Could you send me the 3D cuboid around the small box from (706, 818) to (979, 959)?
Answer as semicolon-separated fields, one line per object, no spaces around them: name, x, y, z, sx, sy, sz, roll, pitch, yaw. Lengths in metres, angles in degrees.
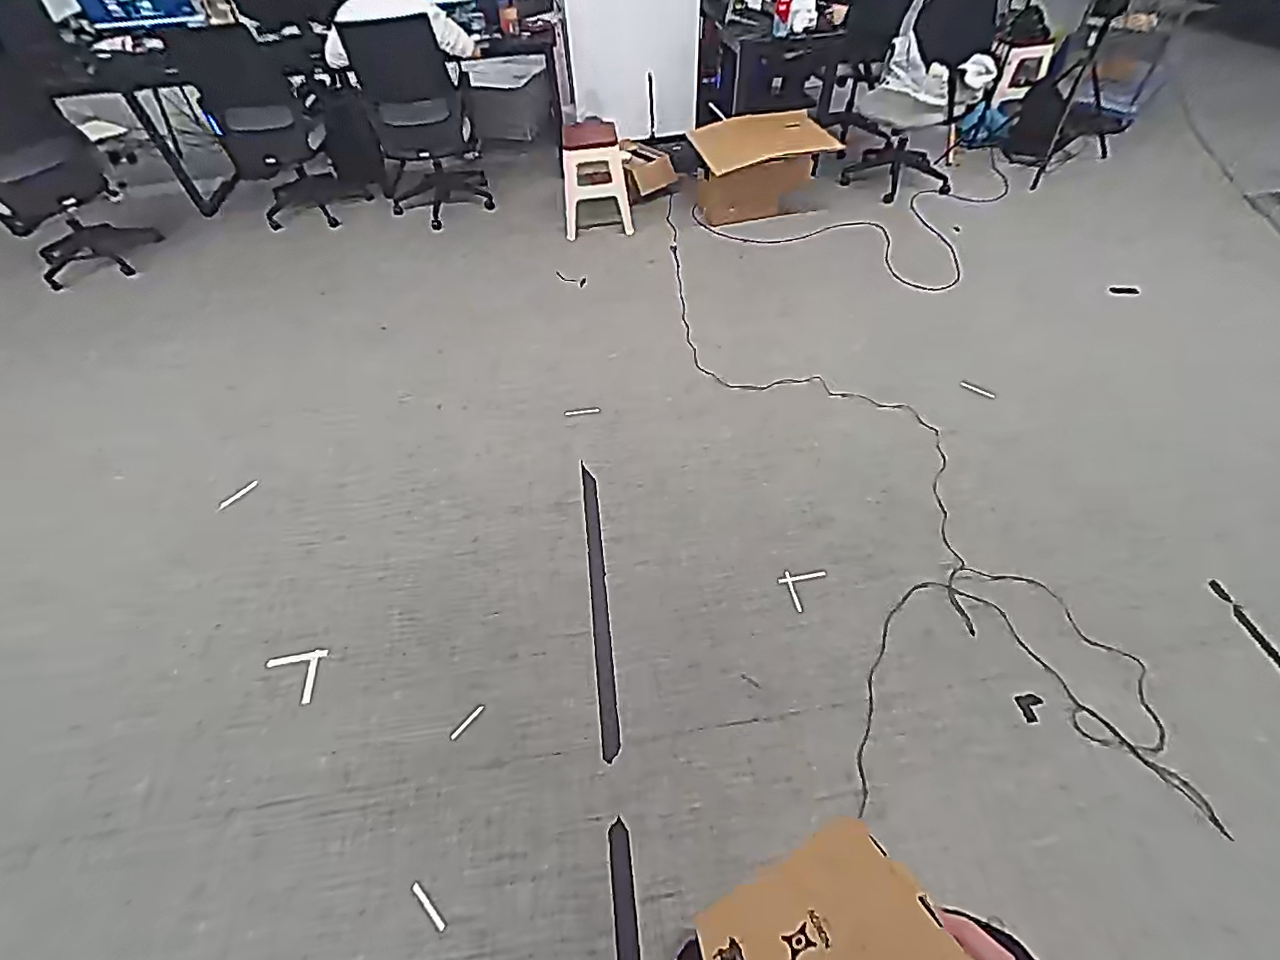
small box;0.181;0.431;0.430;0.179;0.168;0.176;-30;90;-5
